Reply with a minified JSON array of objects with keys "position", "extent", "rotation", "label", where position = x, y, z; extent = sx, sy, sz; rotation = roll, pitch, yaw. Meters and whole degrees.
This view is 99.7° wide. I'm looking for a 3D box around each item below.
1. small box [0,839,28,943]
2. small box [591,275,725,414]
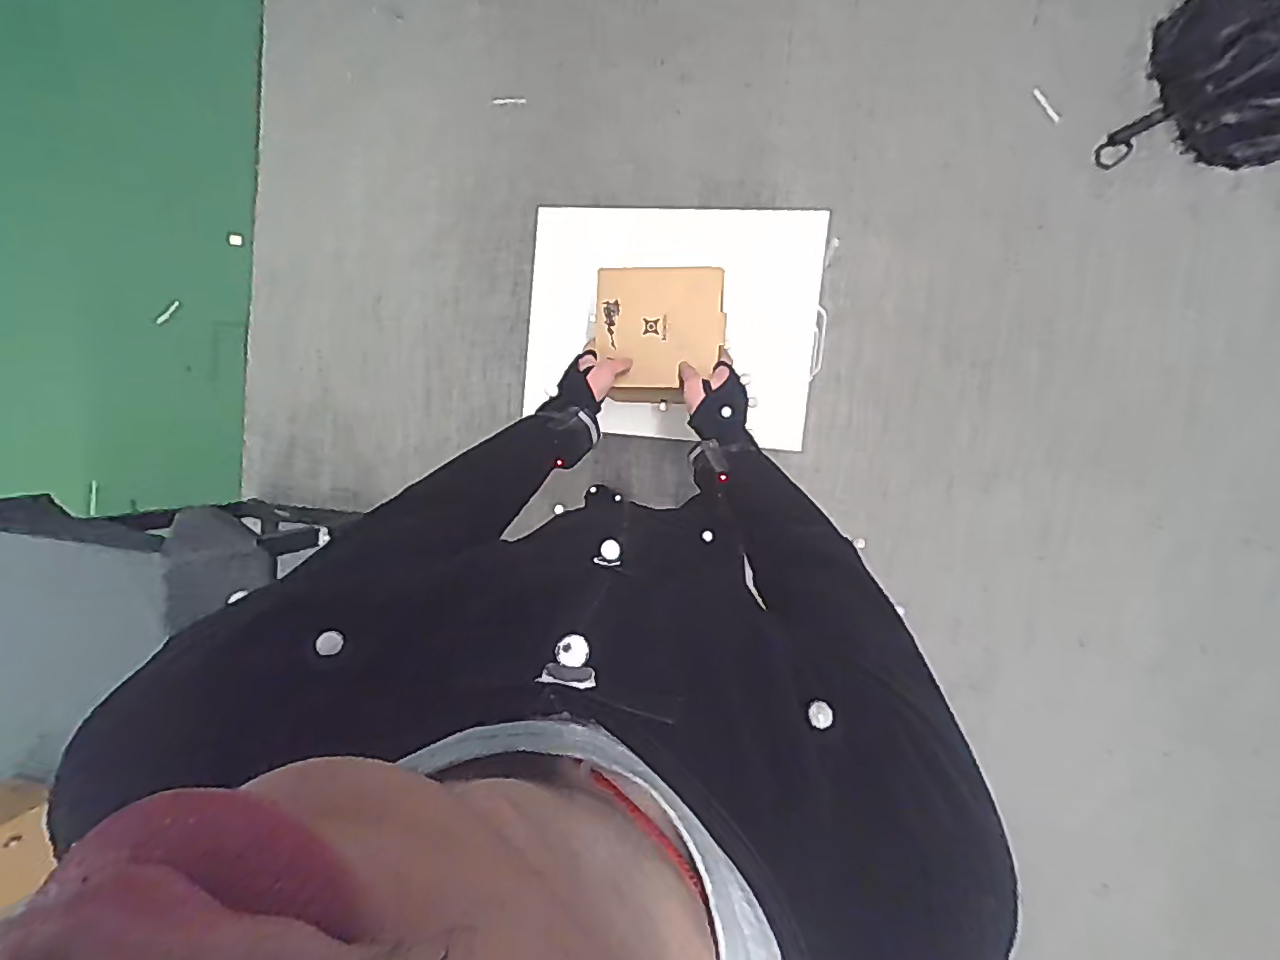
[{"position":[-1.265,0.771,0.971],"extent":[0.168,0.176,0.179],"rotation":[4,94,10],"label":"small box"},{"position":[0.029,-0.191,0.798],"extent":[0.179,0.176,0.168],"rotation":[1,90,5],"label":"small box"}]
